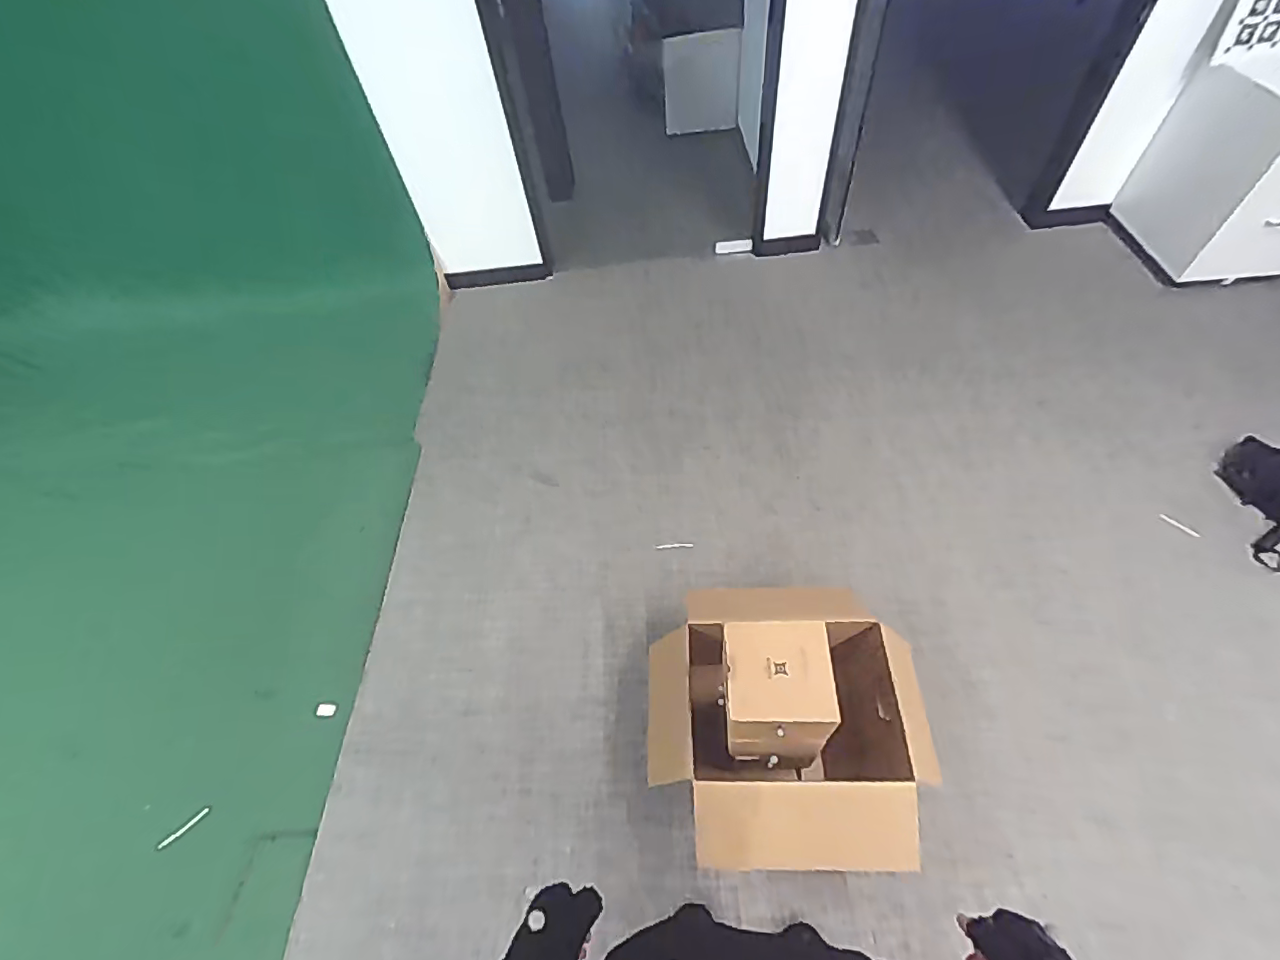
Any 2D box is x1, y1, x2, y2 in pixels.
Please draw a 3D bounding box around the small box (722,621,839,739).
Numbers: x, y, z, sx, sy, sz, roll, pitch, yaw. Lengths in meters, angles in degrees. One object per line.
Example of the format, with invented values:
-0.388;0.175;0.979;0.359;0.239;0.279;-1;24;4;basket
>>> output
0.242;0.362;0.970;0.179;0.176;0.168;-3;56;6;small box
